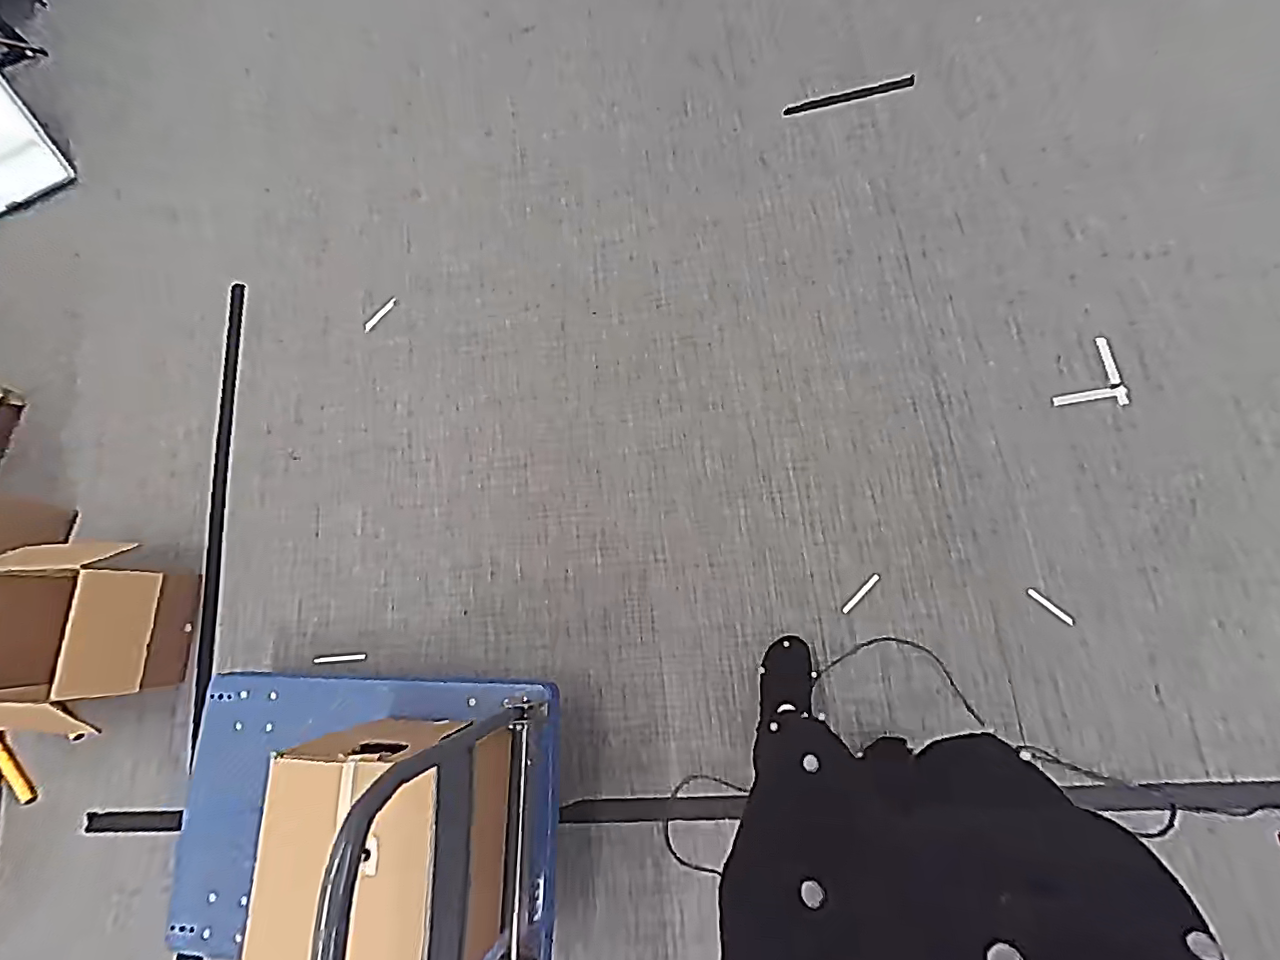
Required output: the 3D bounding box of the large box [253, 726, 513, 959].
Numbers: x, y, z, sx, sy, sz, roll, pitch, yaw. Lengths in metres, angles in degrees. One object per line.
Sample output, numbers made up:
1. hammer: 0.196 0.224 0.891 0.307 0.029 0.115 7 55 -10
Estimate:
1. large box: -0.446 0.706 1.006 0.320 0.320 0.408 -2 75 9
